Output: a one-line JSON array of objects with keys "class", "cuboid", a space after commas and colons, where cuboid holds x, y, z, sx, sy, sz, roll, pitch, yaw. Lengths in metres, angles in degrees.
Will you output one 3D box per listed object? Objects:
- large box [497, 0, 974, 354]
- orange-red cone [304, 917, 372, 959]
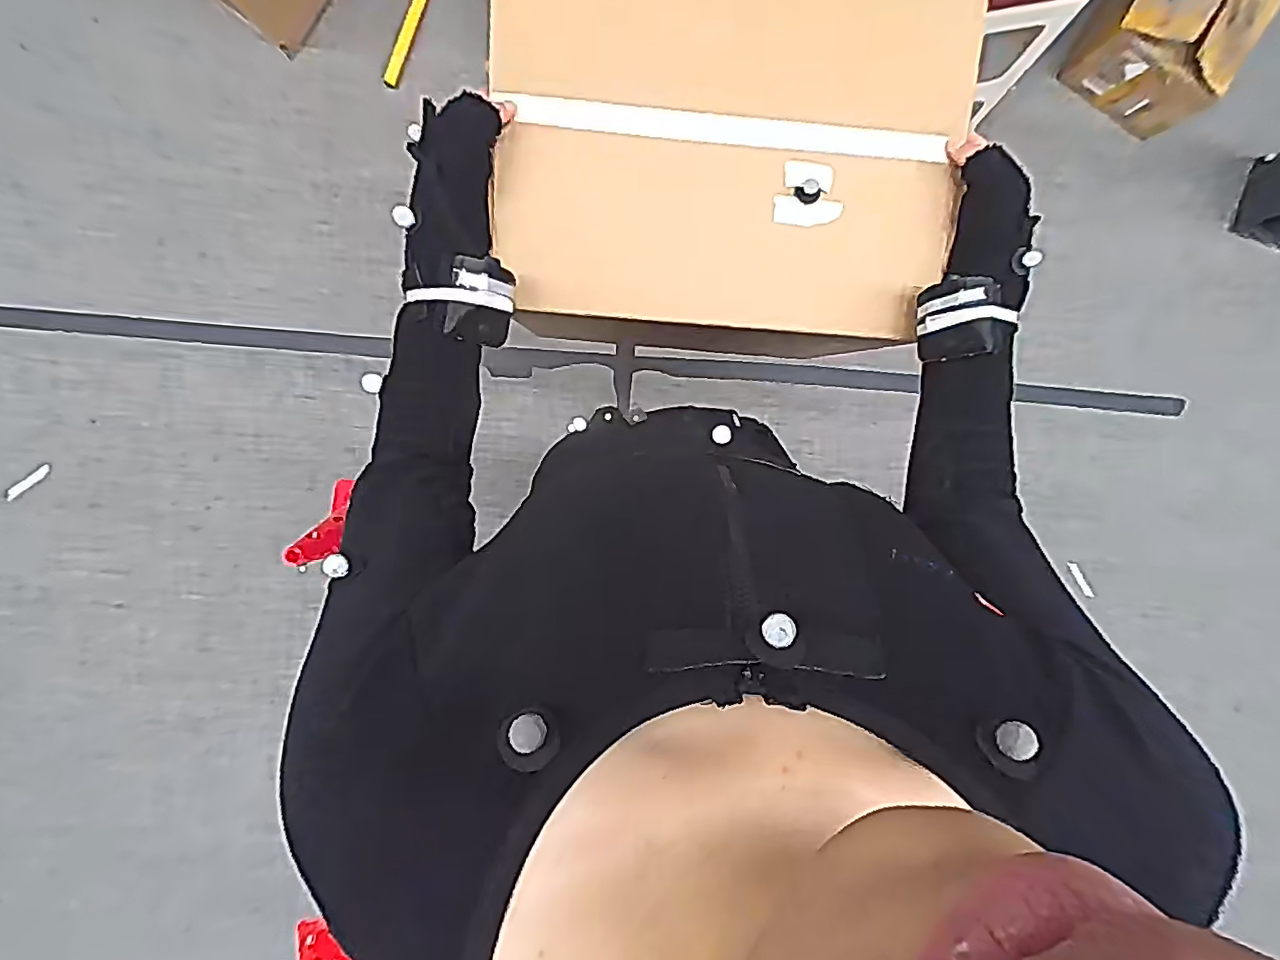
[{"class": "large box", "cuboid": [0.068, -0.319, 0.607, 0.408, 0.320, 0.320, 3, 100, -5]}, {"class": "orange-red cone", "cuboid": [-0.885, 1.408, 1.428, 0.198, 0.360, 0.199, 2, 98, -2]}]
